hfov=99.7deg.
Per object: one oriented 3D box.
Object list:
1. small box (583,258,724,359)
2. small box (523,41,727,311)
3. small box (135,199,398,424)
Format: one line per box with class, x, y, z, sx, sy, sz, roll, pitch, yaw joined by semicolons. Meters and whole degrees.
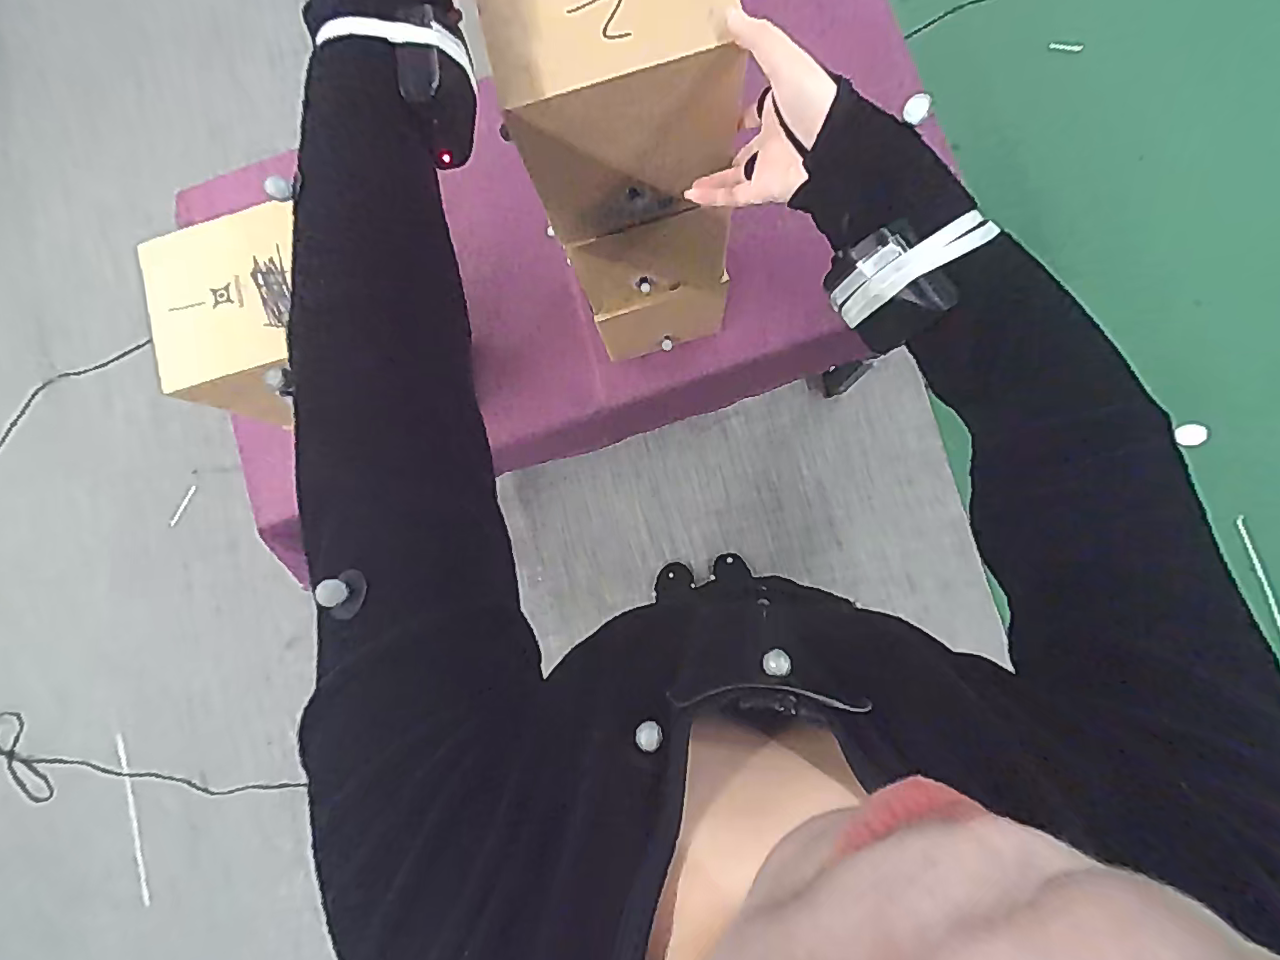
small box;0.006;-0.291;0.760;0.179;0.176;0.168;-16;83;2
small box;-0.012;-0.317;0.599;0.168;0.176;0.179;-16;84;3
small box;-0.401;-0.175;0.615;0.179;0.176;0.168;-16;84;3
